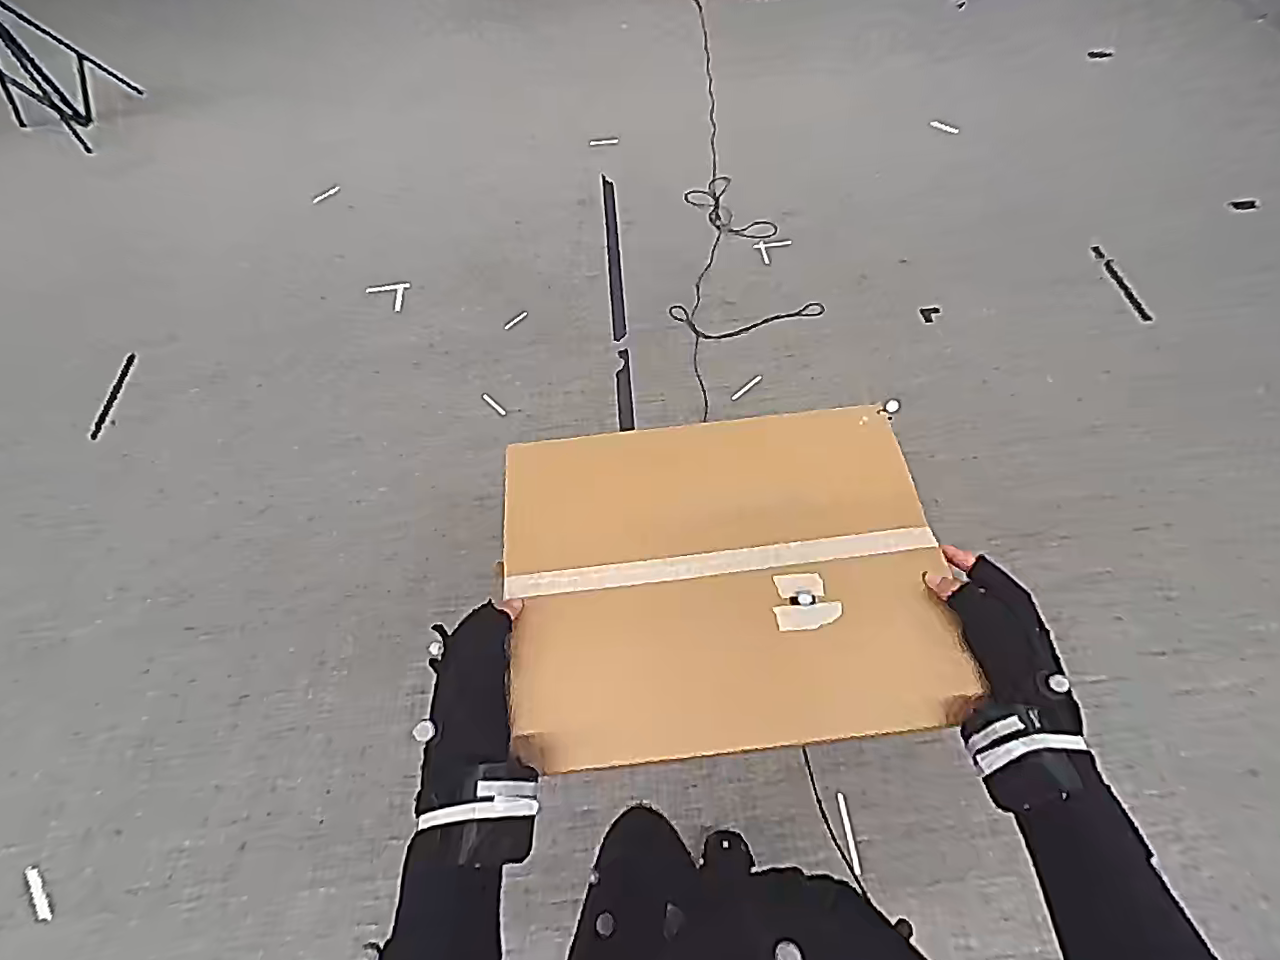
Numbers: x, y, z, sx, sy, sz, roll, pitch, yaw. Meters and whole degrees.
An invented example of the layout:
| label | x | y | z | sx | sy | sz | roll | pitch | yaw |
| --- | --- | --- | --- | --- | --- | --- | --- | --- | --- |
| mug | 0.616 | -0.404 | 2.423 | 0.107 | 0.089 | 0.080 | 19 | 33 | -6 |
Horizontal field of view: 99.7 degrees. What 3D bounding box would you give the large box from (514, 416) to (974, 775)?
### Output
| label | x | y | z | sx | sy | sz | roll | pitch | yaw |
| --- | --- | --- | --- | --- | --- | --- | --- | --- | --- |
| large box | 0.080 | 0.156 | 0.661 | 0.408 | 0.320 | 0.320 | -7 | 64 | -1 |
